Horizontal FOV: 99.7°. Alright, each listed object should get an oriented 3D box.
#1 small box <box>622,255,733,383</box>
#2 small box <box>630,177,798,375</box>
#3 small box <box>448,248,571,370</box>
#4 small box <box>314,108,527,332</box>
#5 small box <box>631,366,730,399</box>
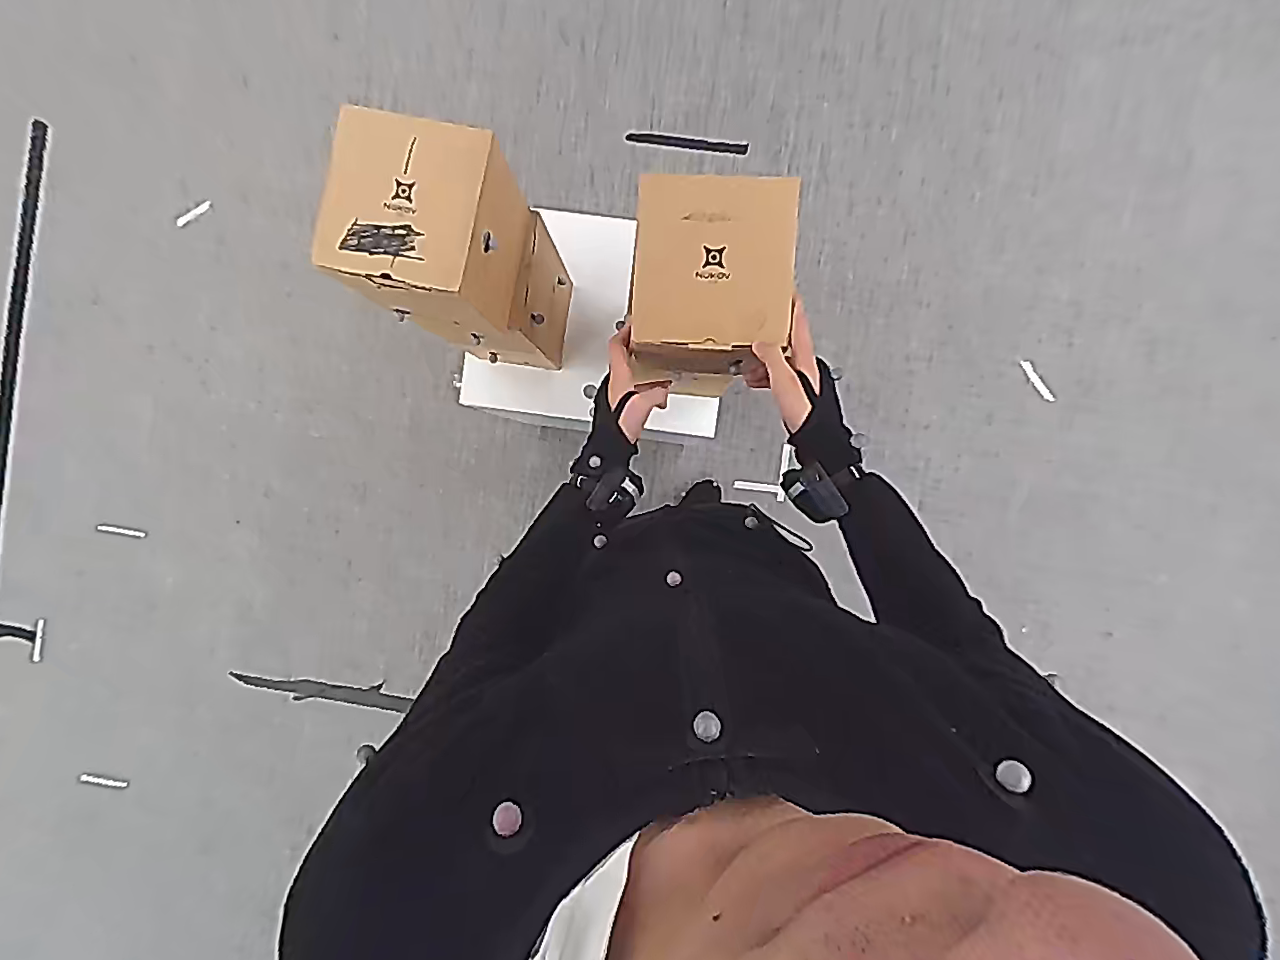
[{"bbox_3d":[0.070,-0.245,0.797,0.168,0.176,0.179,7,91,2],"label":"small box"},{"bbox_3d":[0.079,-0.223,0.634,0.168,0.176,0.179,3,91,2],"label":"small box"},{"bbox_3d":[-0.226,-0.304,0.973,0.168,0.176,0.179,9,91,1],"label":"small box"},{"bbox_3d":[-0.245,-0.291,0.645,0.168,0.176,0.179,12,91,2],"label":"small box"},{"bbox_3d":[0.077,-0.249,0.963,0.168,0.176,0.179,6,91,3],"label":"small box"}]
